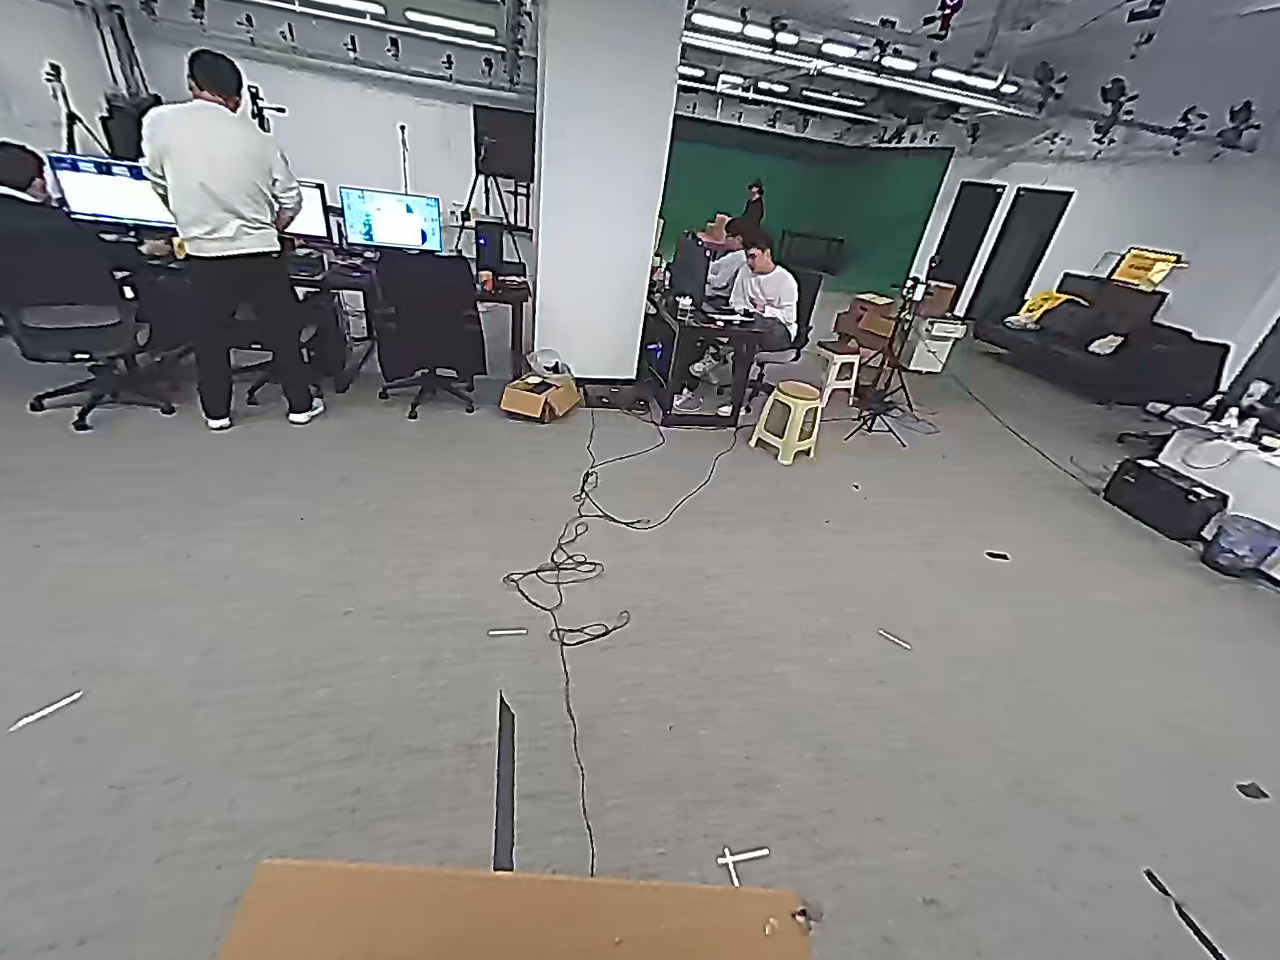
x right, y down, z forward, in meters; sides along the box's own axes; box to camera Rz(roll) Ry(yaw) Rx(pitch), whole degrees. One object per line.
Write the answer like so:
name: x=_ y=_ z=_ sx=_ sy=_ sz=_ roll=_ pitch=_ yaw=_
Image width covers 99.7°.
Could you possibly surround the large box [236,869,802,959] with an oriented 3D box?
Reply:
large box: x=-0.098 y=0.517 z=0.426 sx=0.408 sy=0.320 sz=0.320 roll=5 pitch=51 yaw=-3
